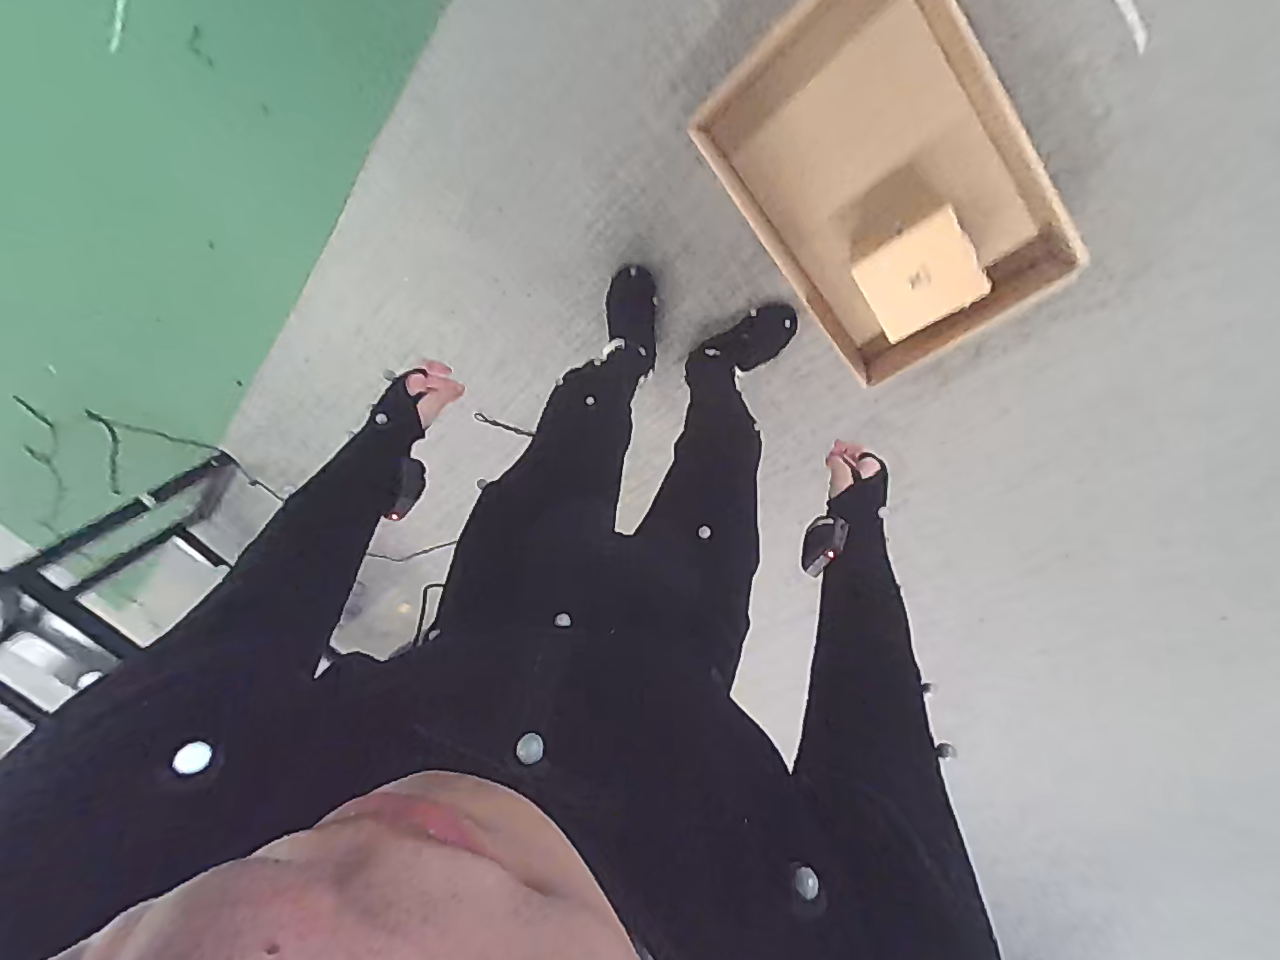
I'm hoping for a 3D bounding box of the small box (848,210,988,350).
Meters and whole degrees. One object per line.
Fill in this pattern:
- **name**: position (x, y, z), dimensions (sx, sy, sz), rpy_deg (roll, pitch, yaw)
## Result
- **small box**: position (0.513, -0.378, 1.016), dimensions (0.179, 0.176, 0.168), rpy_deg (-28, 108, 31)
